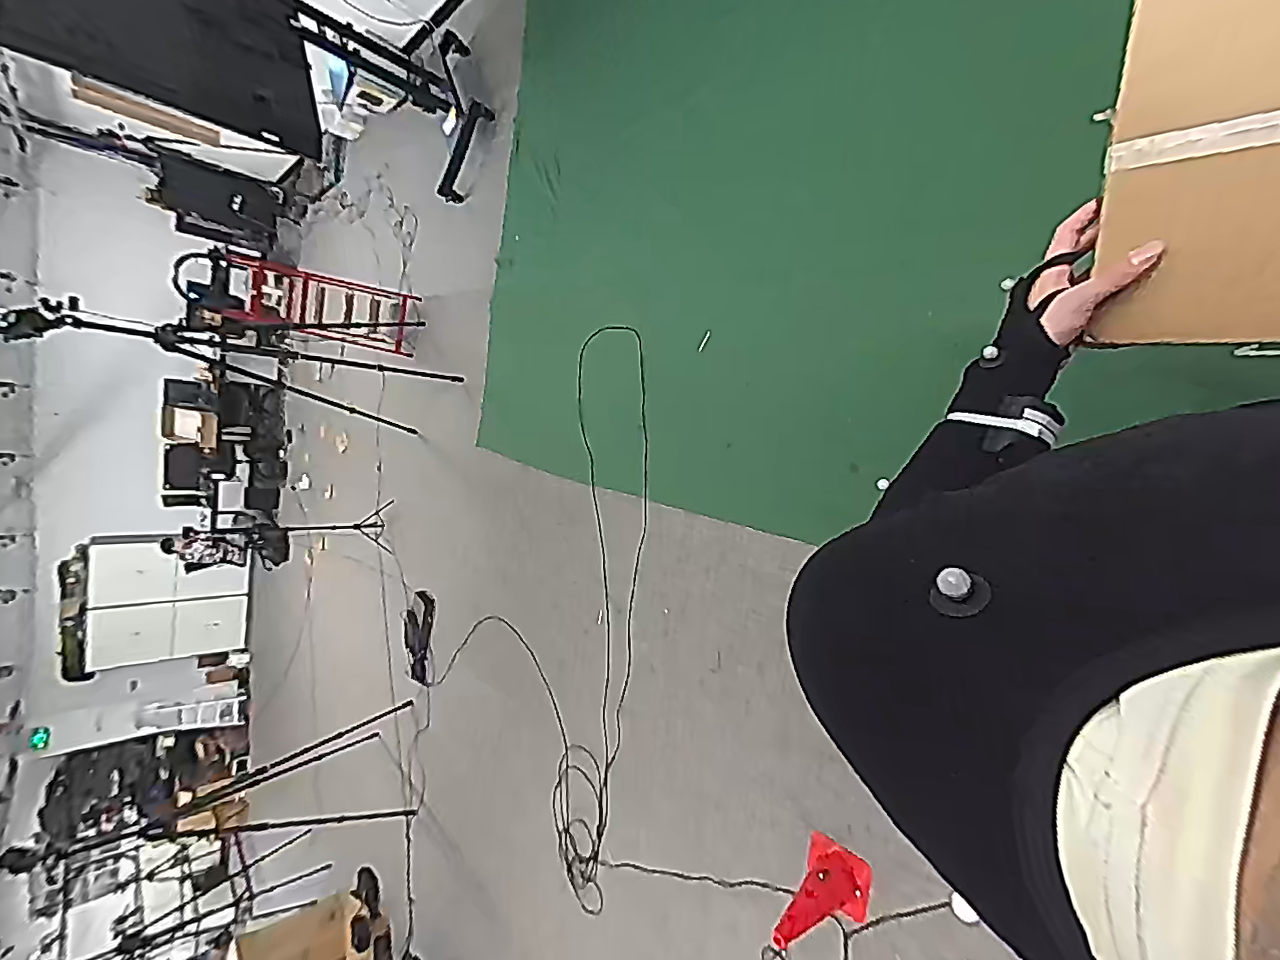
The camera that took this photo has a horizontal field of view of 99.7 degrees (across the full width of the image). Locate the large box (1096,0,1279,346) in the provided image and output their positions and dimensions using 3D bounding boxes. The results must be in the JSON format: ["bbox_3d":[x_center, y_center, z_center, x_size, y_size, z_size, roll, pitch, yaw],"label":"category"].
[{"bbox_3d":[0.657,-0.287,0.429,0.408,0.320,0.320,12,115,44],"label":"large box"}]
